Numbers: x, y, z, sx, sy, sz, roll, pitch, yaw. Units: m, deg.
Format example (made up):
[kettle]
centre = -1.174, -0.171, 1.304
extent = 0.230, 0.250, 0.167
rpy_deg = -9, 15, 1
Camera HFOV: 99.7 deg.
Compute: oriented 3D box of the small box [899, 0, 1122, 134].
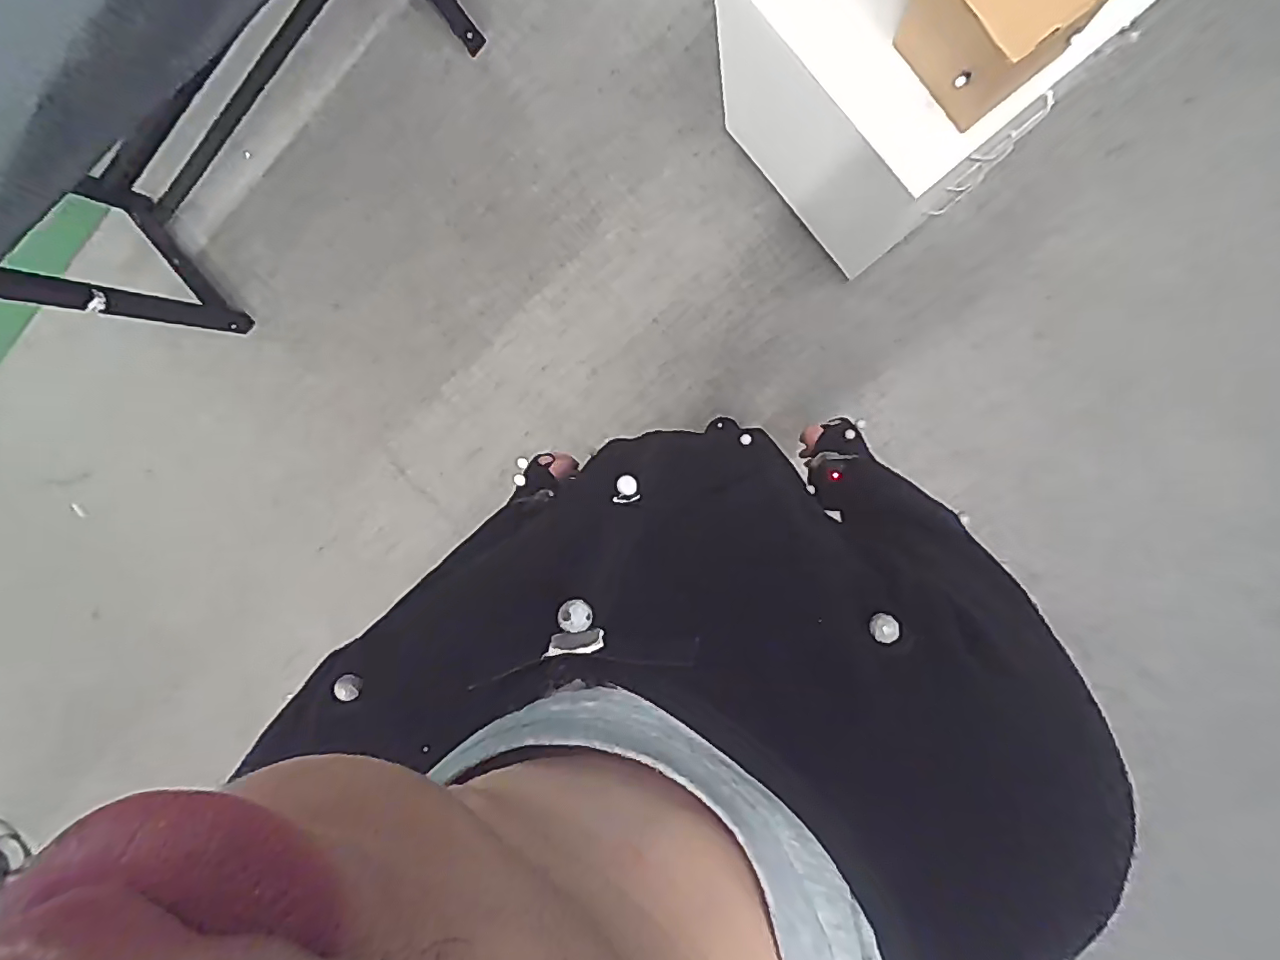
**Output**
[small box]
centre = 0.479, -0.602, 0.713
extent = 0.168, 0.176, 0.179
rpy_deg = -38, 86, 12
